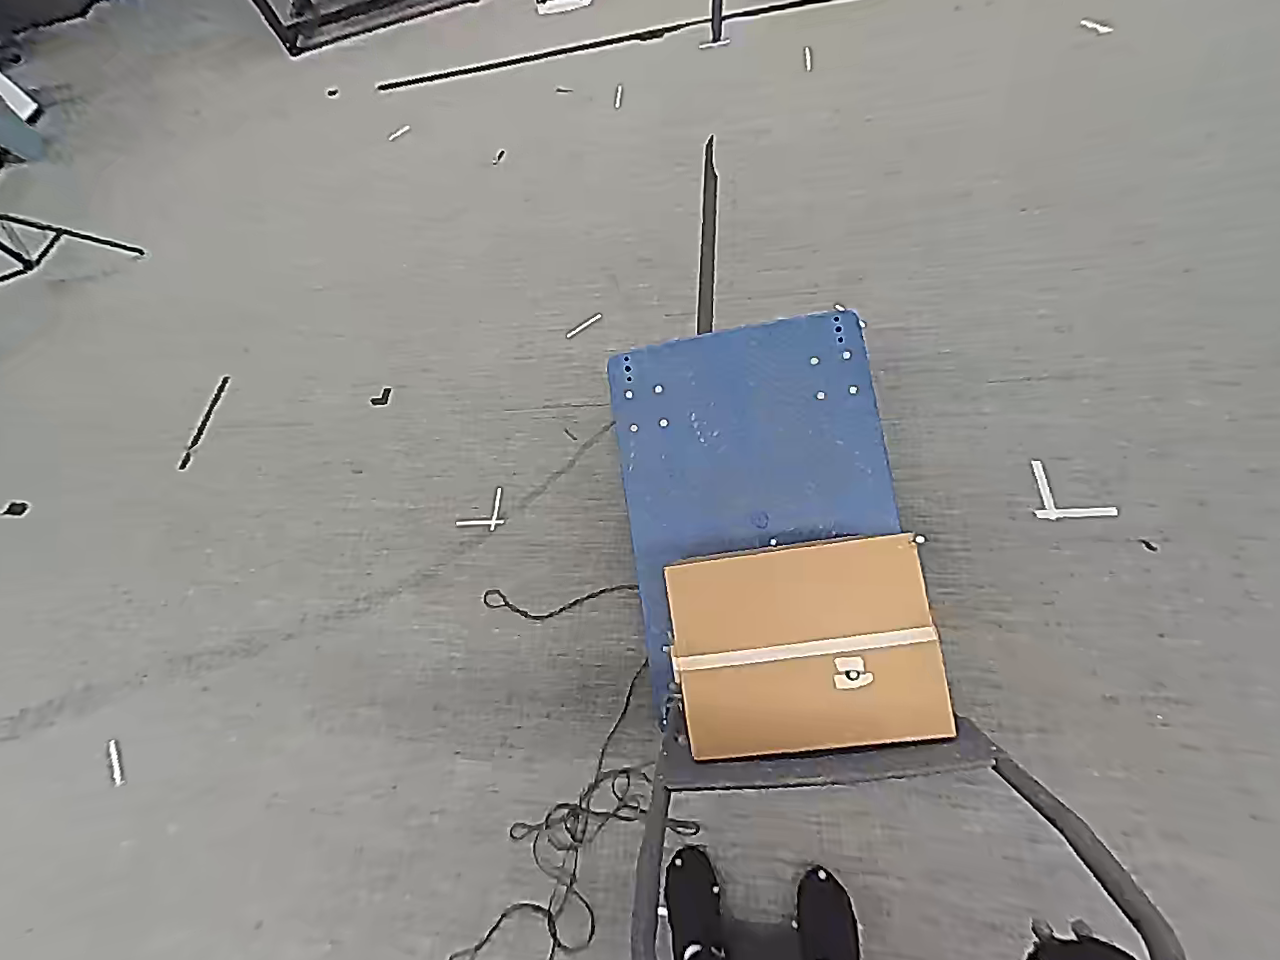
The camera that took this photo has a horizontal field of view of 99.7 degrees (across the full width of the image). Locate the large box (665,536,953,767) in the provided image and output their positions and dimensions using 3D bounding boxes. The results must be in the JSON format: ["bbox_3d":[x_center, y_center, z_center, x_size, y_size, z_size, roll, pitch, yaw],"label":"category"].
[{"bbox_3d":[0.276,0.291,1.003,0.408,0.320,0.320,-9,83,6],"label":"large box"}]
